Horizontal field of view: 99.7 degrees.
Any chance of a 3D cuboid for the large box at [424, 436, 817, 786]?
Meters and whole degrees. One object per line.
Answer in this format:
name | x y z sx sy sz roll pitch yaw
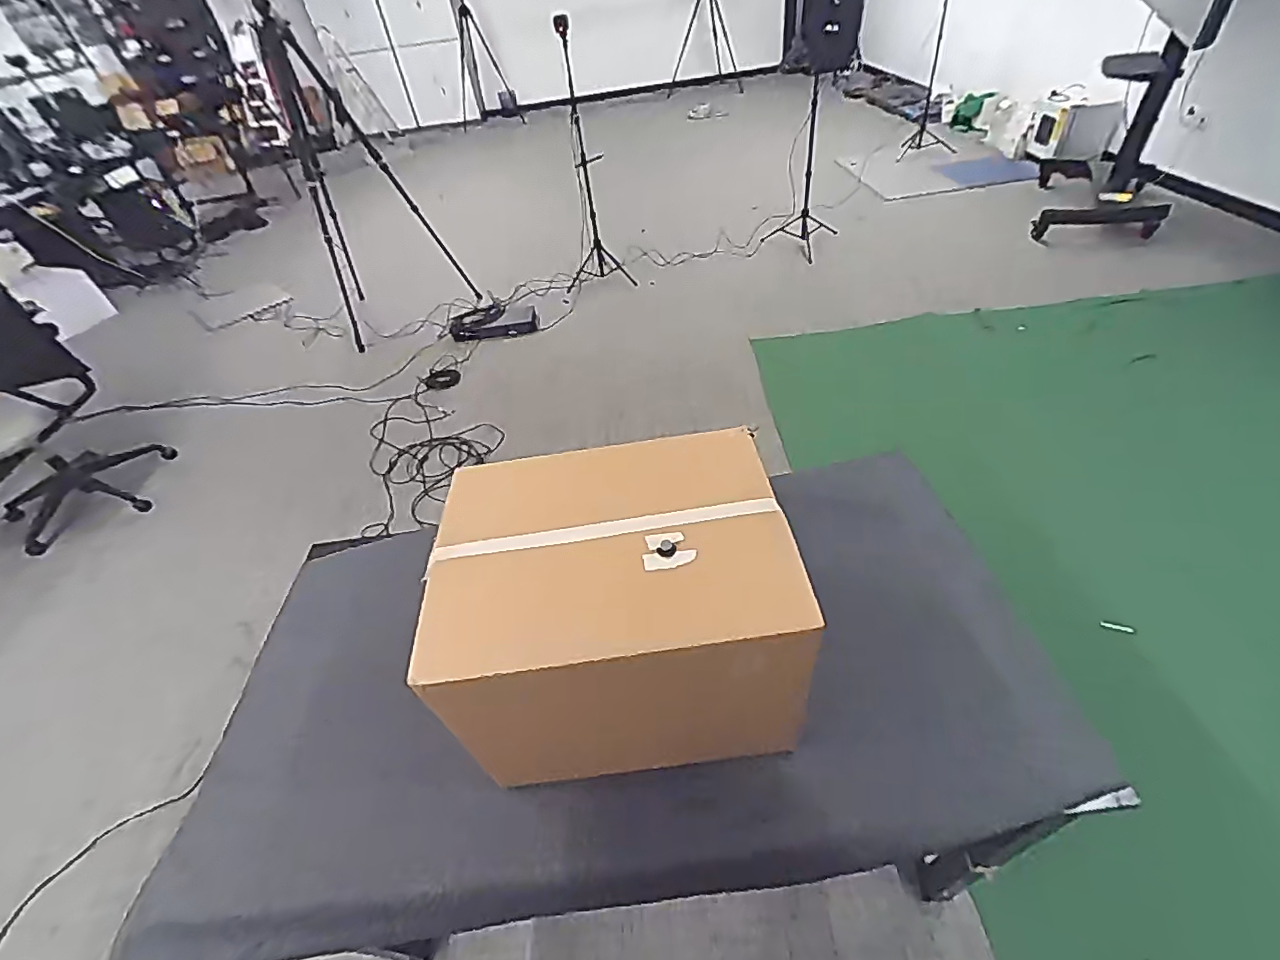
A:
large box | -0.020 0.178 0.740 0.408 0.320 0.320 -8 44 0
